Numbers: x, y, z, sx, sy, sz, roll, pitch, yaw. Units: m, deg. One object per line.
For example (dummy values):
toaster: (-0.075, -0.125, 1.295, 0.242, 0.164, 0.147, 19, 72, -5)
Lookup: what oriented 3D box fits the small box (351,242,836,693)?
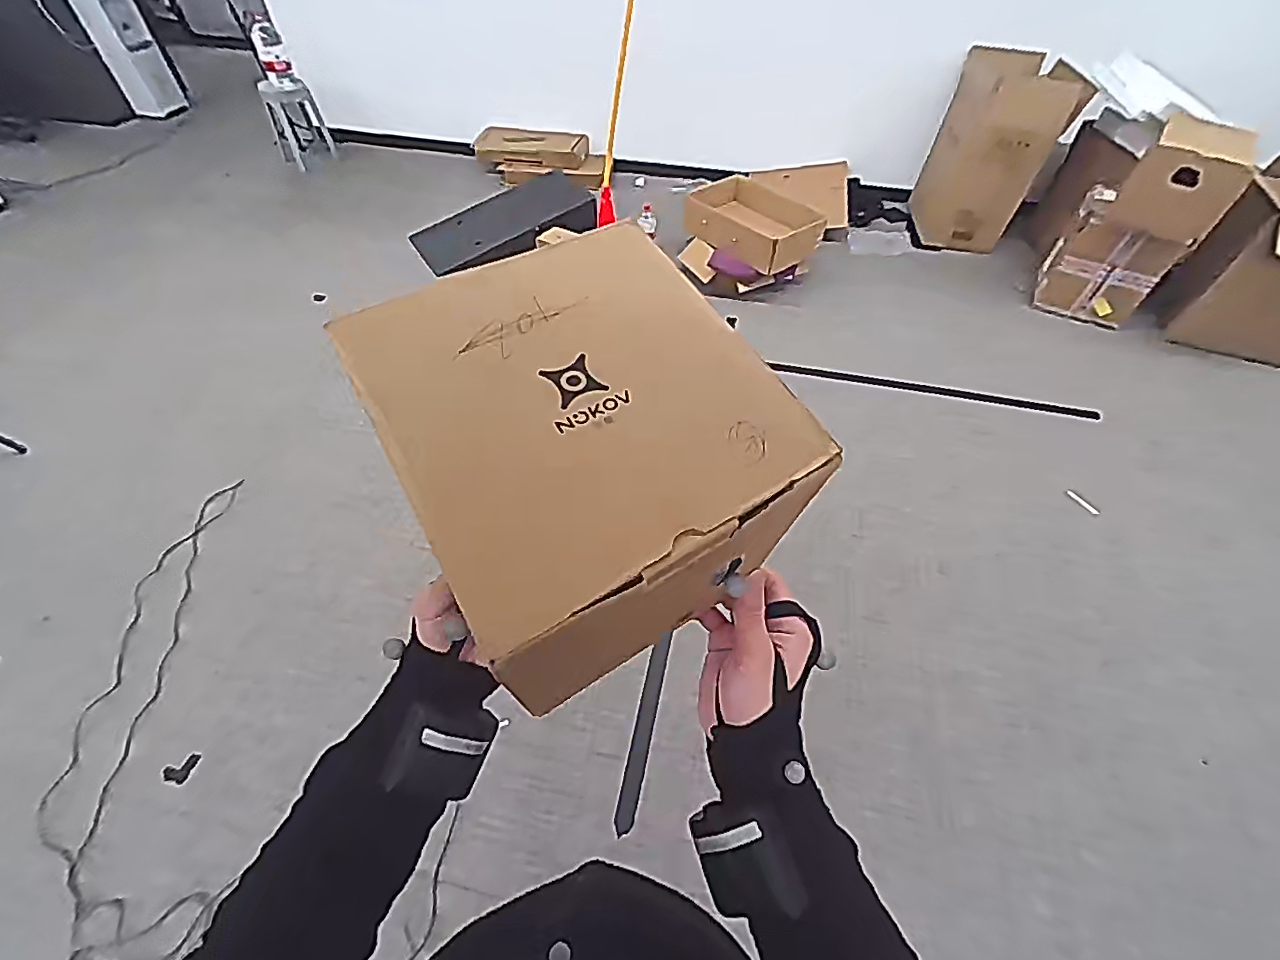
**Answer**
small box: (-0.029, 0.004, 0.318, 0.168, 0.176, 0.179, -28, 66, -20)
